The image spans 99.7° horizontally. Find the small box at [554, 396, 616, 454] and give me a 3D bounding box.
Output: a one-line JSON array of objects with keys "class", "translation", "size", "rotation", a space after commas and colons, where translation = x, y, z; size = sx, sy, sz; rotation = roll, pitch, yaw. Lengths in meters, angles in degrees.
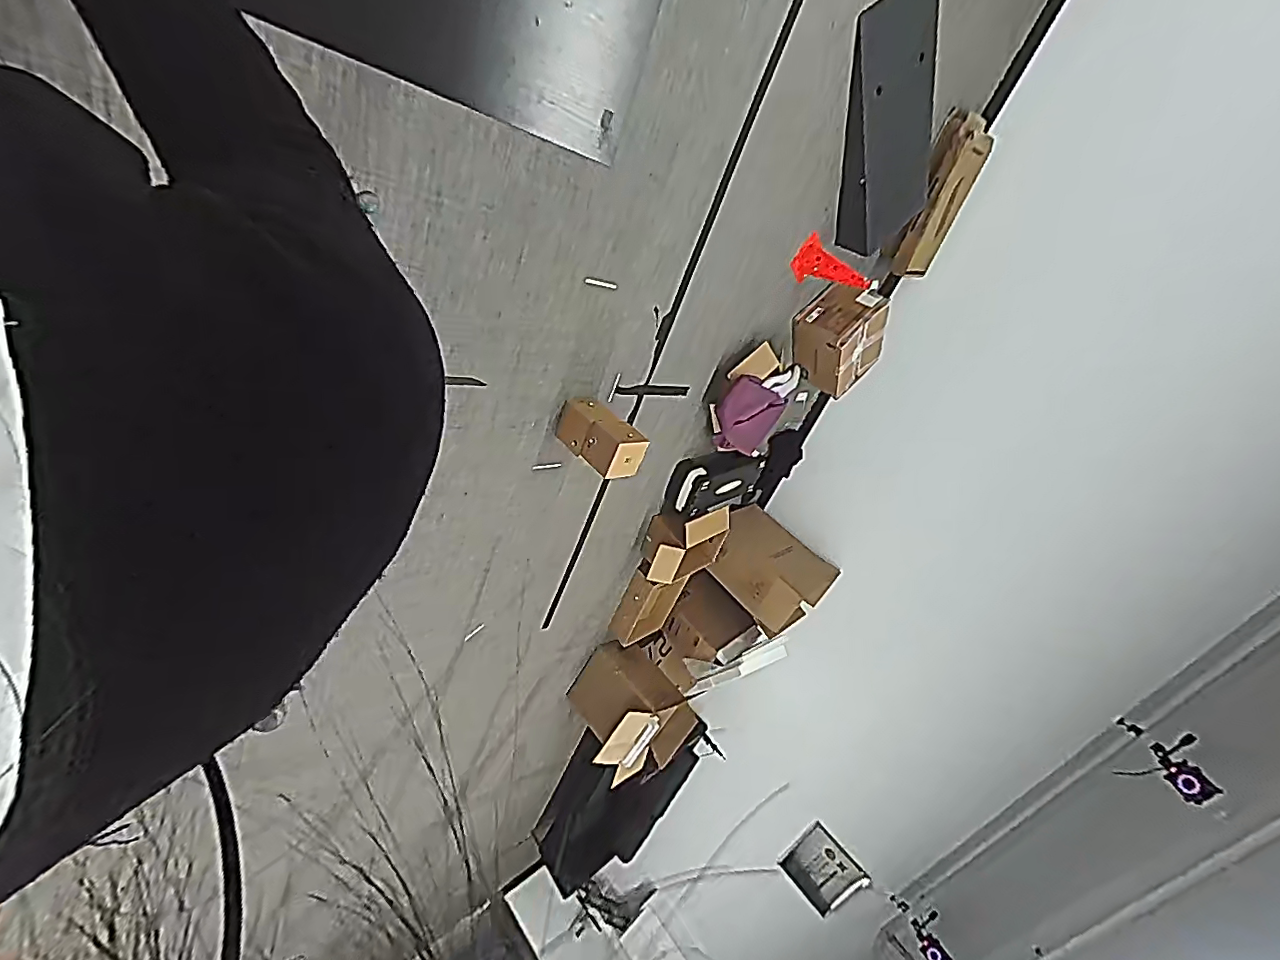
[{"class": "small box", "translation": [-0.232, -0.228, 2.219], "size": [0.168, 0.176, 0.179], "rotation": [-11, 134, -47]}]

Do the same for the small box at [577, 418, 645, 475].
[{"class": "small box", "translation": [-0.118, -0.138, 2.145], "size": [0.179, 0.176, 0.168], "rotation": [-8, 131, -47]}]
